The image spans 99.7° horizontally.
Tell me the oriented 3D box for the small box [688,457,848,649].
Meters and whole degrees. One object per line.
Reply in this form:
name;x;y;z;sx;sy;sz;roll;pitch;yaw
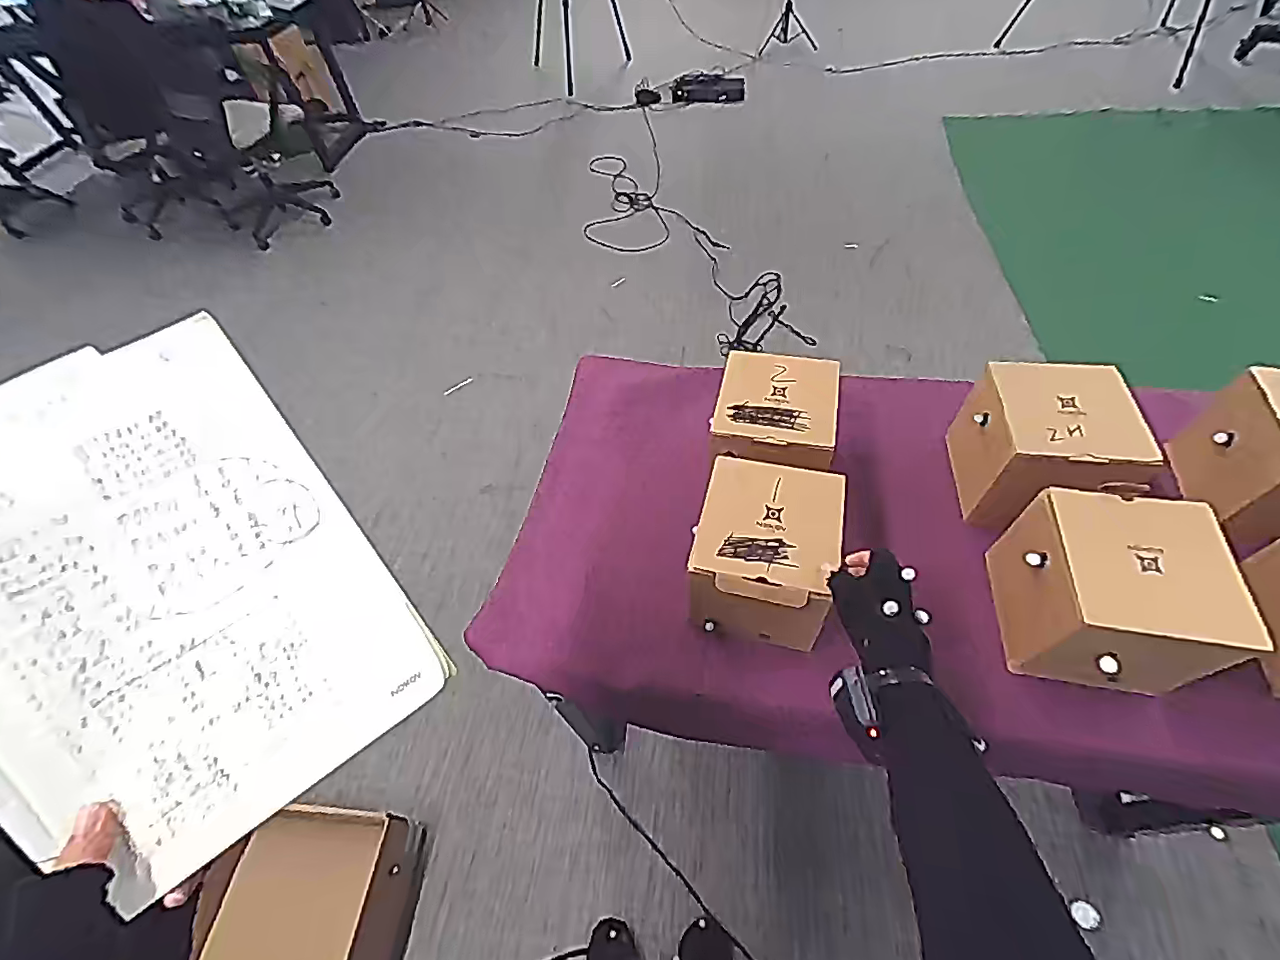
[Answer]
small box;0.163;0.099;0.708;0.168;0.176;0.179;11;55;13

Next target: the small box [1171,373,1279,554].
small box;0.878;-0.016;0.724;0.168;0.176;0.179;9;55;12

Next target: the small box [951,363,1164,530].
small box;0.569;-0.042;0.772;0.168;0.176;0.179;5;54;9

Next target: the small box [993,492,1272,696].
small box;0.553;0.140;0.643;0.168;0.176;0.179;7;55;11
